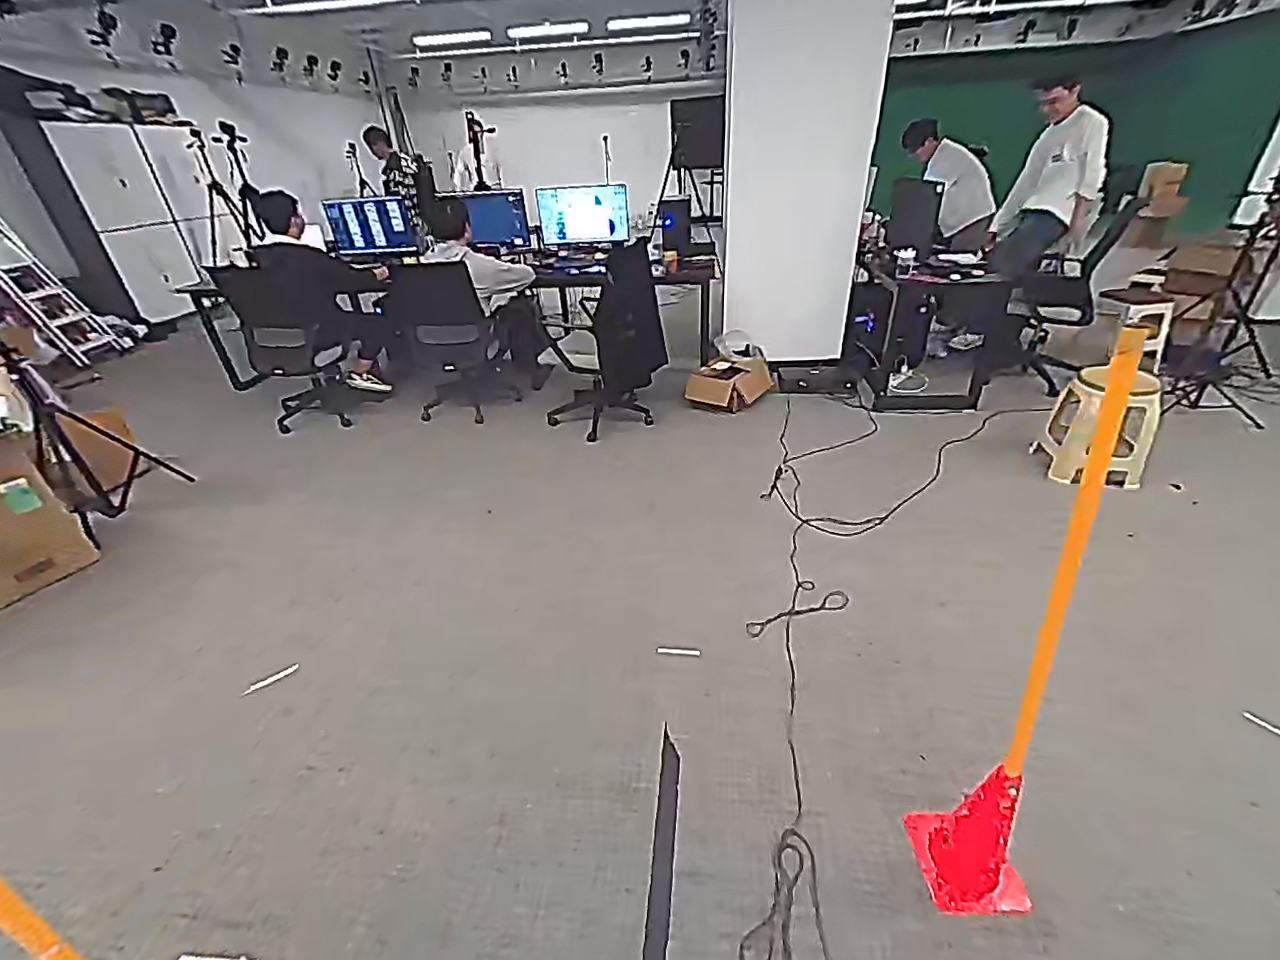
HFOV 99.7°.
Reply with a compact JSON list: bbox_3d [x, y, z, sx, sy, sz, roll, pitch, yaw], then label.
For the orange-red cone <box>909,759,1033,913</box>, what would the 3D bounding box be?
[{"bbox_3d":[0.717,0.701,1.116,0.199,0.360,0.198,-3,31,4],"label":"orange-red cone"}]
